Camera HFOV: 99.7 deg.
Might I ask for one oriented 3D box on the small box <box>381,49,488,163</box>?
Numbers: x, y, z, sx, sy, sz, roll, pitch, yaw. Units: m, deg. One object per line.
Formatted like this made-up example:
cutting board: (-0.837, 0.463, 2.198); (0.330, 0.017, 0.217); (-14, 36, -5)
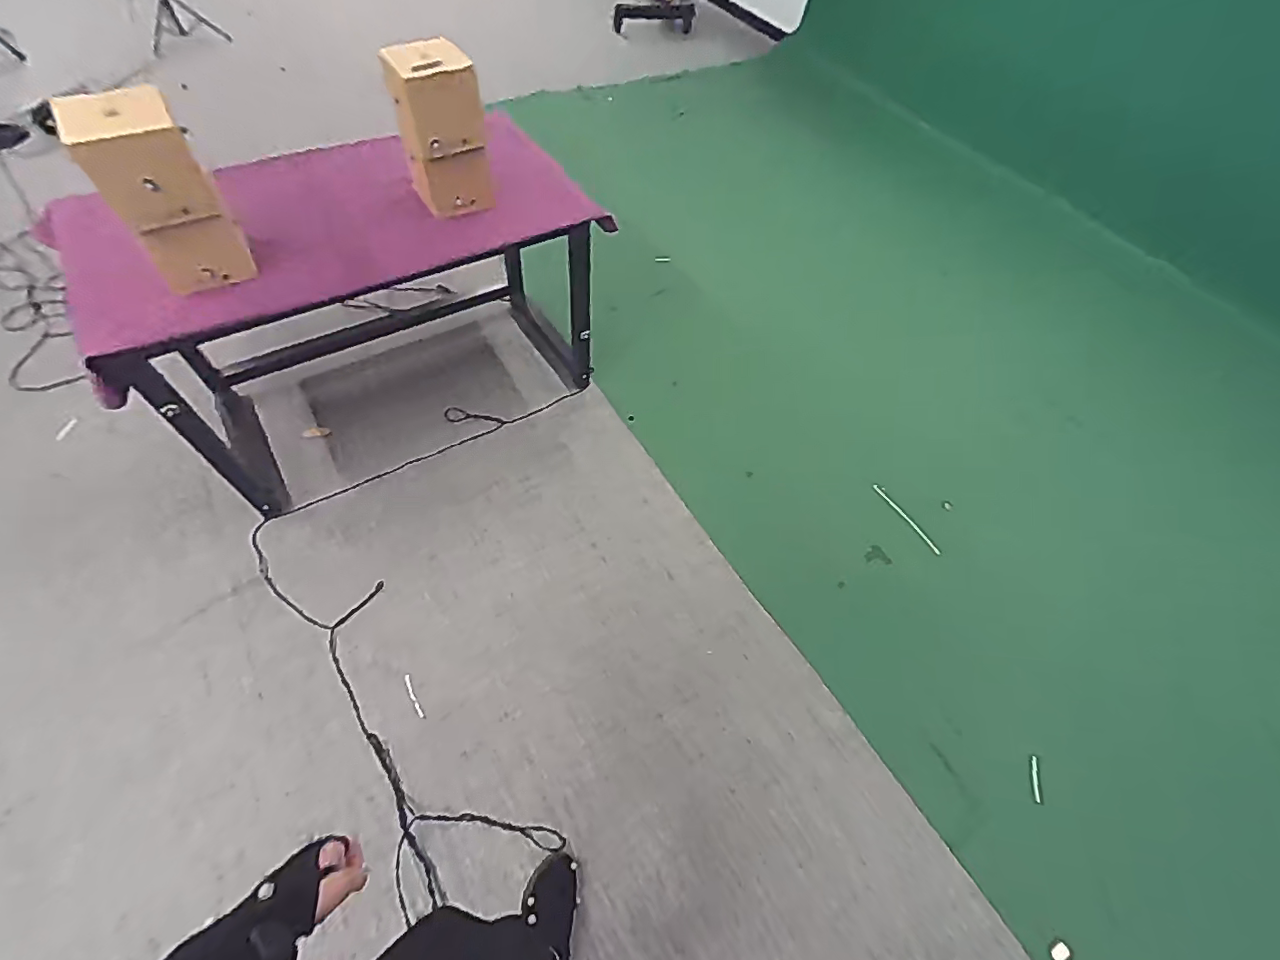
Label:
small box: (-0.479, -0.879, 1.282); (0.168, 0.176, 0.179); (-27, 61, -20)

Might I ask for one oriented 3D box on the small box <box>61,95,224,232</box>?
small box: (-0.953, -0.605, 1.050); (0.168, 0.176, 0.179); (-27, 64, -22)

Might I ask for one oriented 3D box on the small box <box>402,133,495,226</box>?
small box: (-0.499, -0.804, 1.427); (0.168, 0.176, 0.179); (-25, 62, -19)
